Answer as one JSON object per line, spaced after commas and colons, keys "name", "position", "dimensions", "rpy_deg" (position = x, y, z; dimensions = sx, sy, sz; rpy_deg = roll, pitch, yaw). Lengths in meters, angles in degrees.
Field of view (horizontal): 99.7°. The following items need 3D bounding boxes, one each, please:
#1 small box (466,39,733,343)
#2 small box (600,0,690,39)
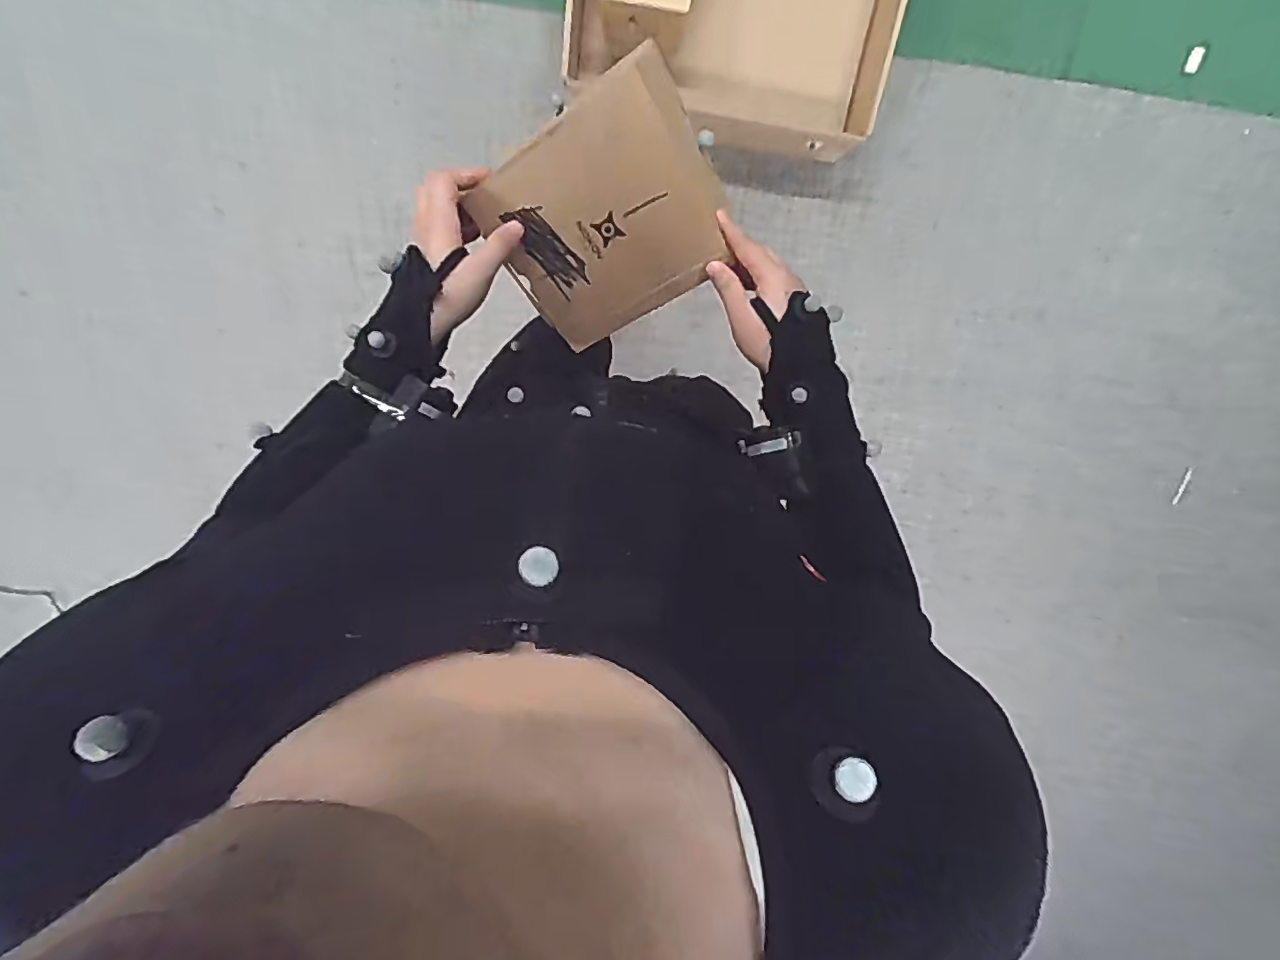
{"name": "small box", "position": [-0.024, -0.268, 0.510], "dimensions": [0.179, 0.176, 0.168], "rpy_deg": [-21, 129, 25]}
{"name": "small box", "position": [0.020, -0.959, 1.002], "dimensions": [0.168, 0.176, 0.179], "rpy_deg": [7, 112, -3]}
